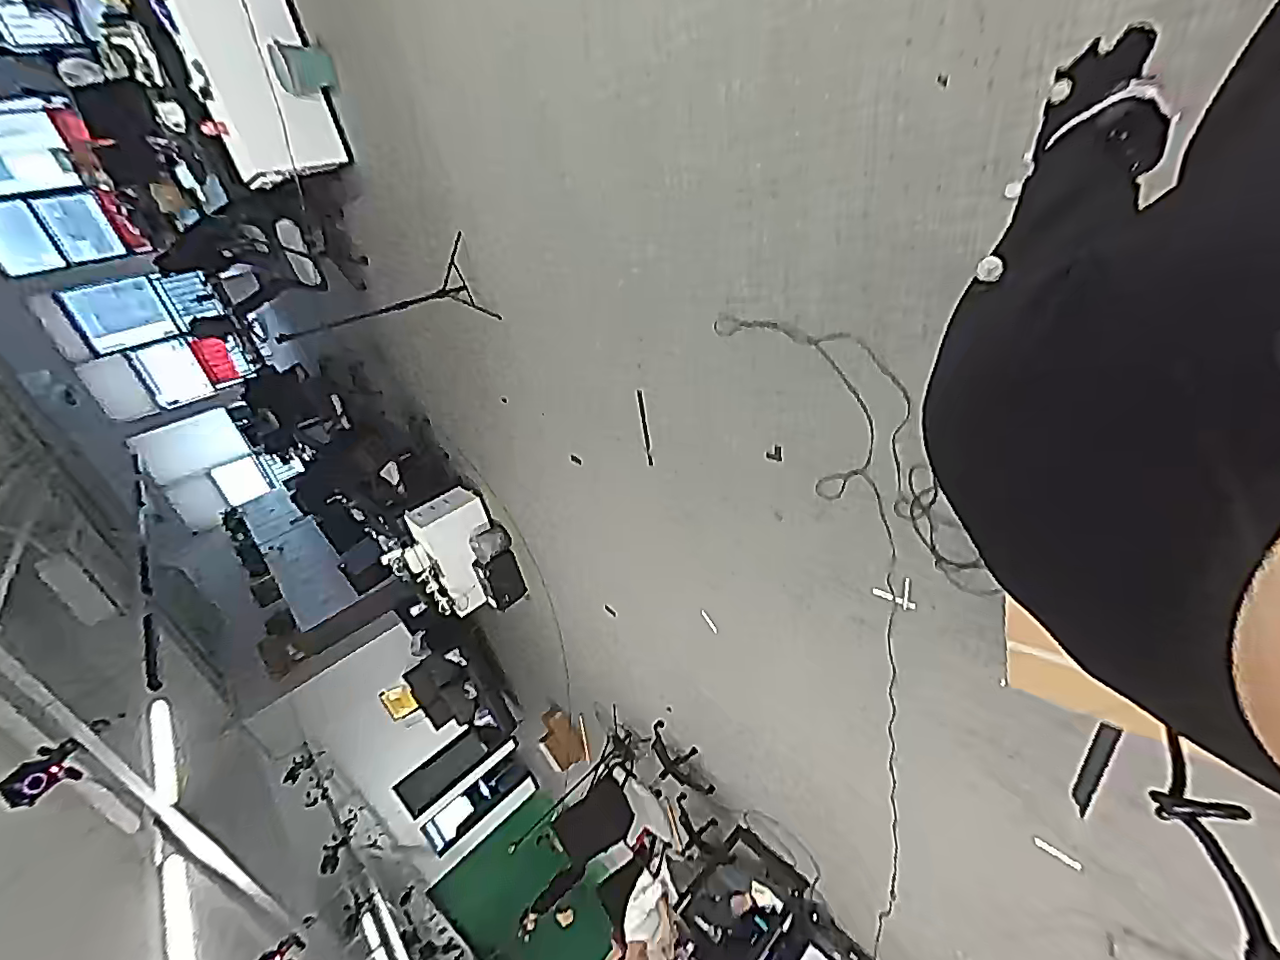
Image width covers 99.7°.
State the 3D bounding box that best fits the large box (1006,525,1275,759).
[{"bbox_3d":[1.142,0.343,1.262,0.408,0.320,0.320,13,127,49],"label":"large box"}]
